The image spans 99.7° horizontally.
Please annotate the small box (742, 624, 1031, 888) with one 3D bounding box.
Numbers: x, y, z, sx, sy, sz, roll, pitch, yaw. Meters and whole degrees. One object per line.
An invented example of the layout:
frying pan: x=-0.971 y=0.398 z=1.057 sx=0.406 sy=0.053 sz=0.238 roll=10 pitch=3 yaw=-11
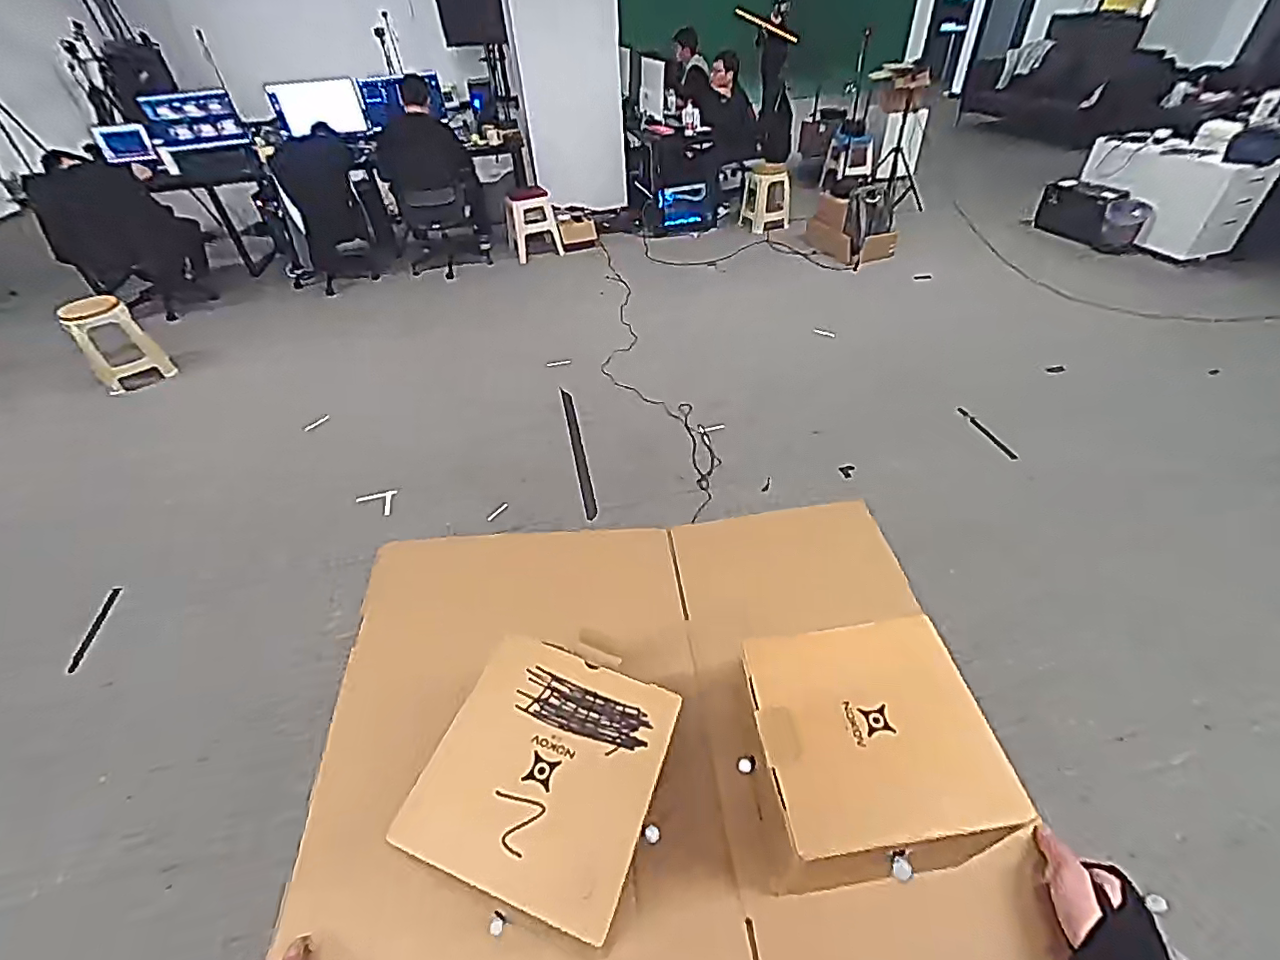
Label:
small box: x=0.201 y=0.259 z=0.505 sx=0.179 sy=0.176 sz=0.168 roll=-9 pitch=45 yaw=-1
